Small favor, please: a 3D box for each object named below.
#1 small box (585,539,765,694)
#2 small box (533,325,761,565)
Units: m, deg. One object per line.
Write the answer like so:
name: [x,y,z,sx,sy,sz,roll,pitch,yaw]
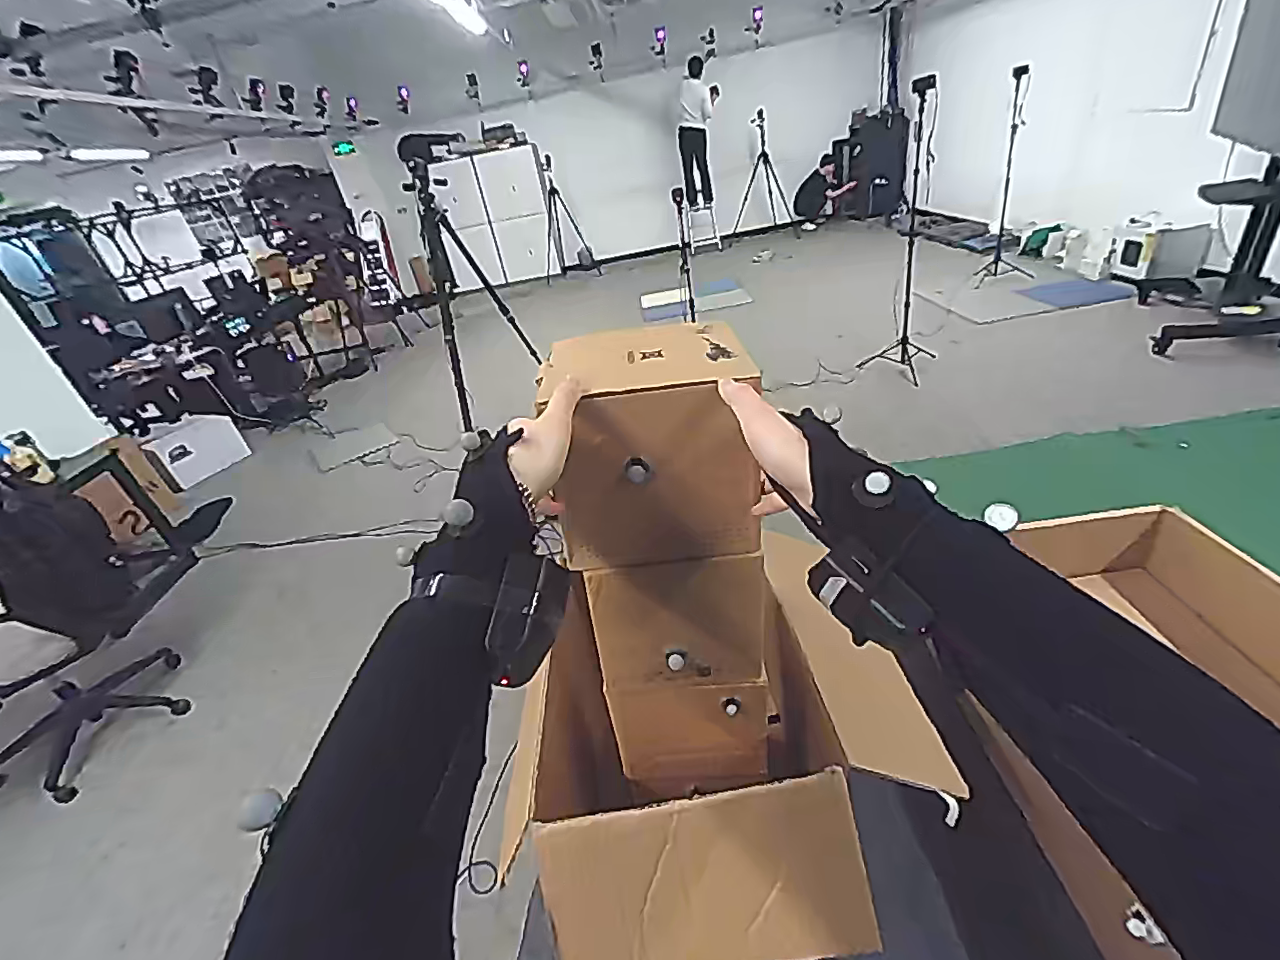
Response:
small box: [0.037,0.105,0.598,0.168,0.176,0.179,-7,31,1]
small box: [0.012,-0.035,0.515,0.179,0.176,0.168,-7,30,2]
